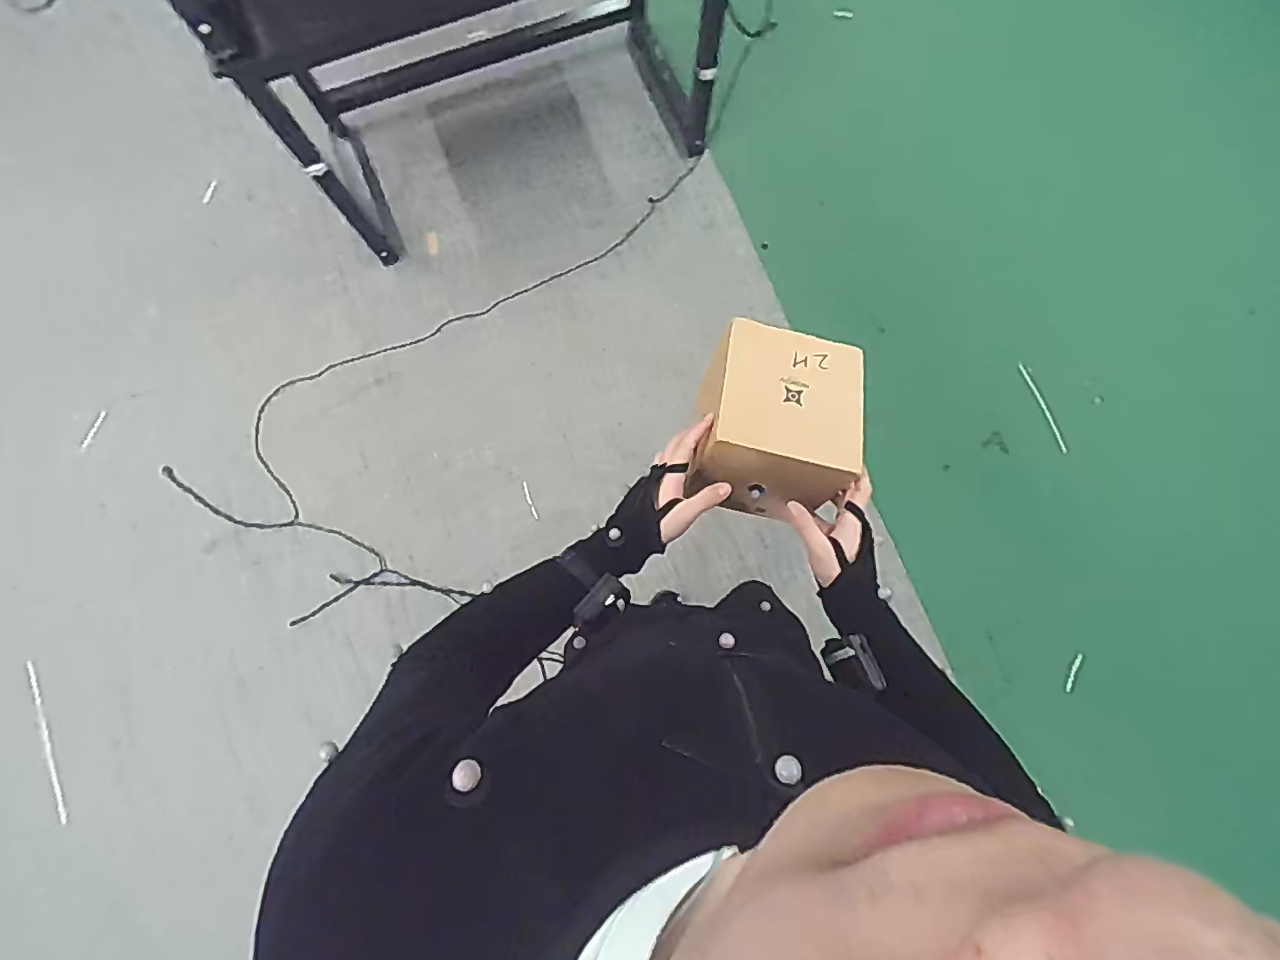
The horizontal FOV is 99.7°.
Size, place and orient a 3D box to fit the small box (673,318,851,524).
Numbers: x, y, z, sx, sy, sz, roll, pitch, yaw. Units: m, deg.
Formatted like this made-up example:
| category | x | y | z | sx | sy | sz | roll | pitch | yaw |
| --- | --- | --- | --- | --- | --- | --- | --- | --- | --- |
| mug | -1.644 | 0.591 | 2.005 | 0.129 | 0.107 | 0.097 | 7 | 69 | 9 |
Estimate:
| category | x | y | z | sx | sy | sz | roll | pitch | yaw |
| --- | --- | --- | --- | --- | --- | --- | --- | --- | --- |
| small box | 0.144 | -0.063 | 0.674 | 0.168 | 0.176 | 0.179 | 14 | 63 | -5 |
